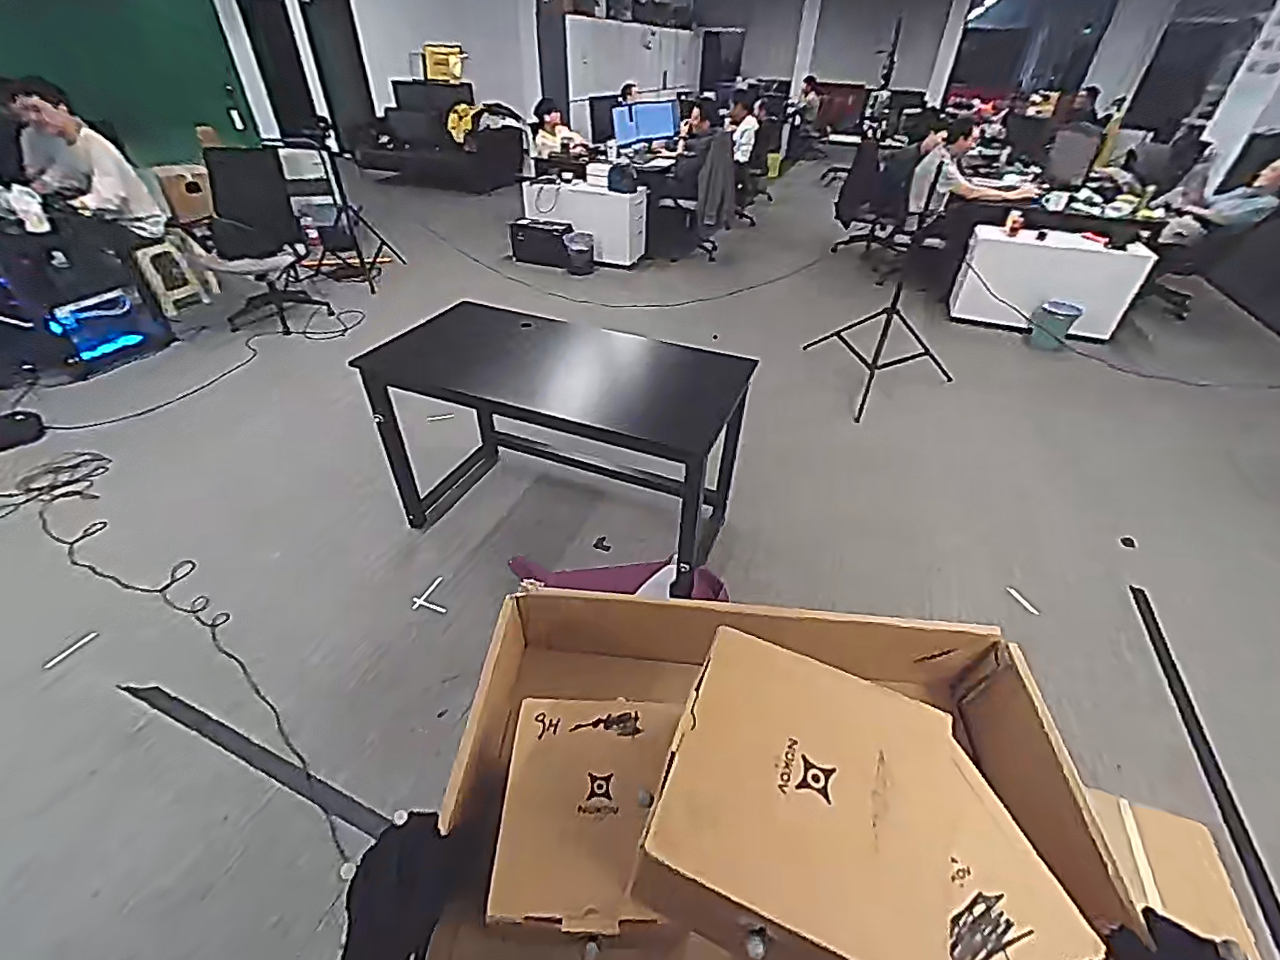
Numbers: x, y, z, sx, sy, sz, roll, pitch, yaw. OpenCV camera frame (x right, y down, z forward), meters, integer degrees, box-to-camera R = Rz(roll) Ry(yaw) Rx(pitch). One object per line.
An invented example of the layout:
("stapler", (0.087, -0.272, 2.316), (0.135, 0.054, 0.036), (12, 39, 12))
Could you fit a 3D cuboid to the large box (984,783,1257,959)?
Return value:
("large box", (0.964, 0.933, 1.110), (0.320, 0.320, 0.408), (13, 40, 14))
